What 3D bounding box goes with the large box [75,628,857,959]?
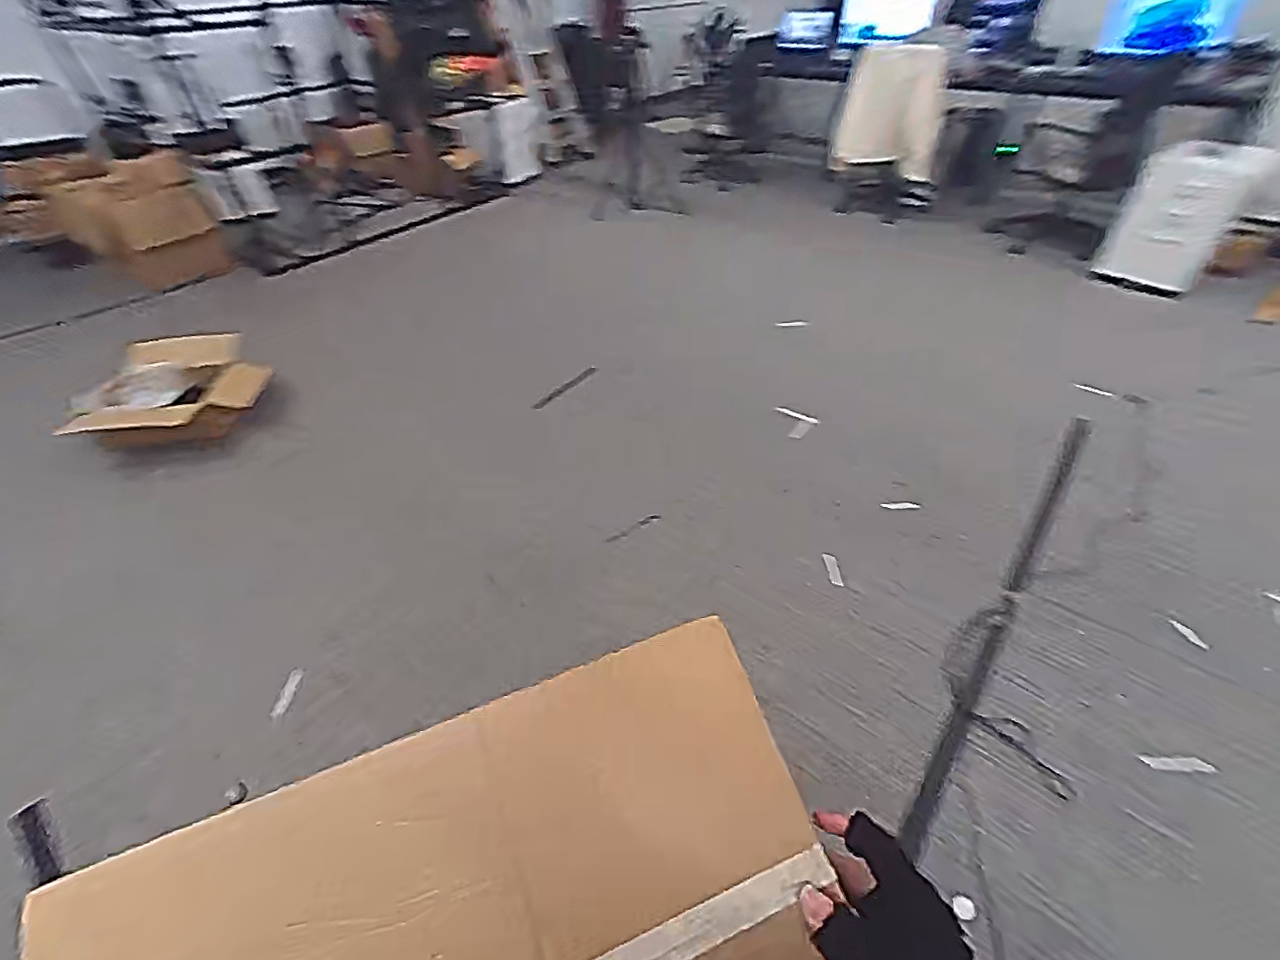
[{"bbox_3d":[-0.087,0.354,0.425,0.408,0.320,0.320,-18,71,-11],"label":"large box"}]
